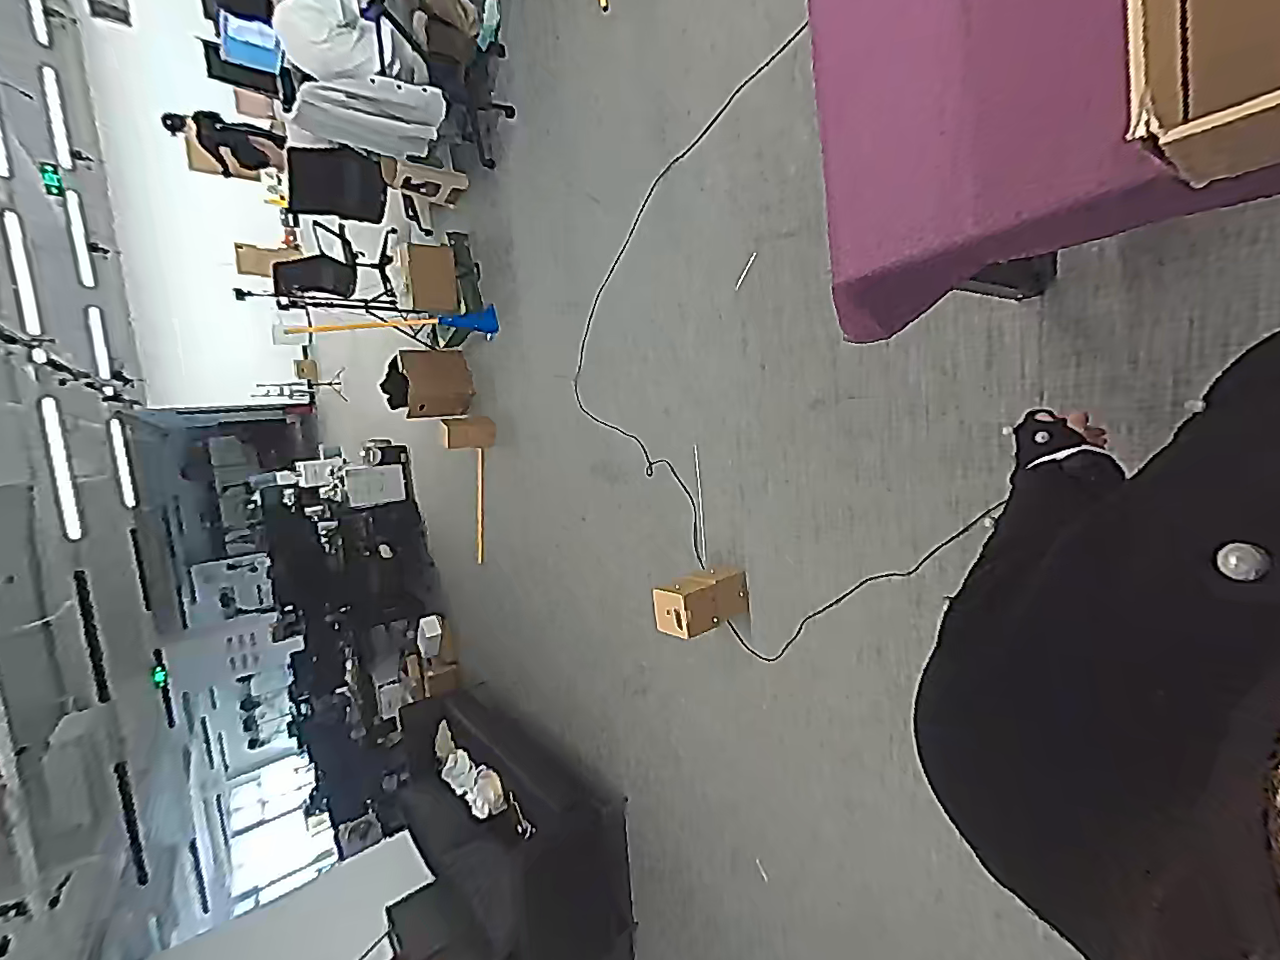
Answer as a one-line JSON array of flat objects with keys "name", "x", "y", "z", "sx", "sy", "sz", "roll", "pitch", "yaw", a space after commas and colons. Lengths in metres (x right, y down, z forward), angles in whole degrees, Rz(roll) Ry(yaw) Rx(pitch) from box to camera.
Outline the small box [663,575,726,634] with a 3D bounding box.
[{"name": "small box", "x": 0.214, "y": 0.465, "z": 2.051, "sx": 0.179, "sy": 0.176, "sz": 0.168, "roll": -2, "pitch": 96, "yaw": 55}]
